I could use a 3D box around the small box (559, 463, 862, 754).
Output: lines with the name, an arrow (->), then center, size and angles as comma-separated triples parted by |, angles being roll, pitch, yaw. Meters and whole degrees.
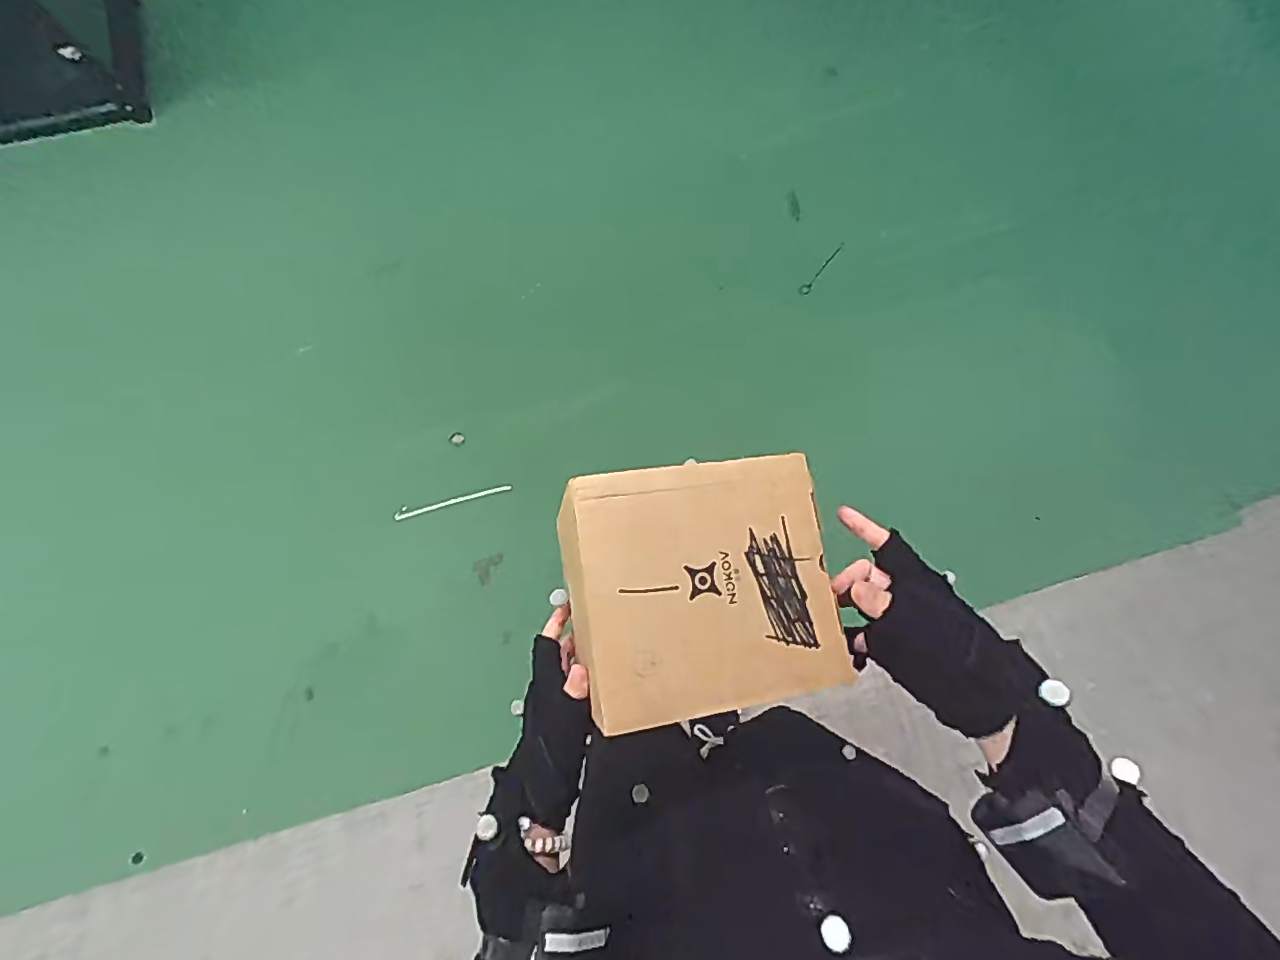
small box -> 0.035, 0.091, 0.426 | 0.179, 0.176, 0.168 | -6, 78, -13
